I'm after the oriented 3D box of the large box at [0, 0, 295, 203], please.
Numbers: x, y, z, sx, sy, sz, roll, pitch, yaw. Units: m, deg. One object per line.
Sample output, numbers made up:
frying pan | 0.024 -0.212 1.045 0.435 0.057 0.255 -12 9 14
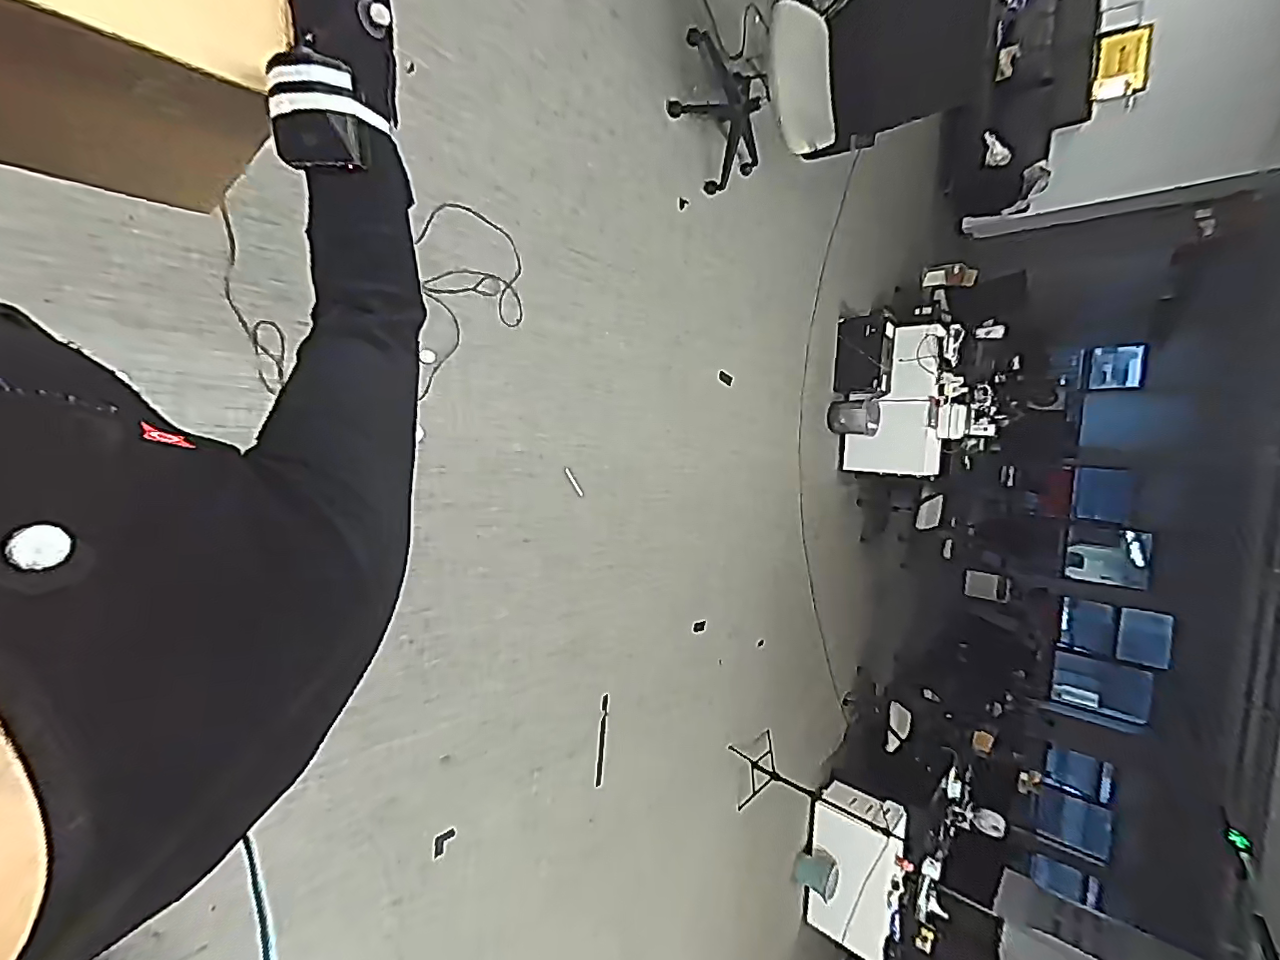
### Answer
large box | -0.502 -0.431 0.342 0.408 0.320 0.320 -5 98 -48
